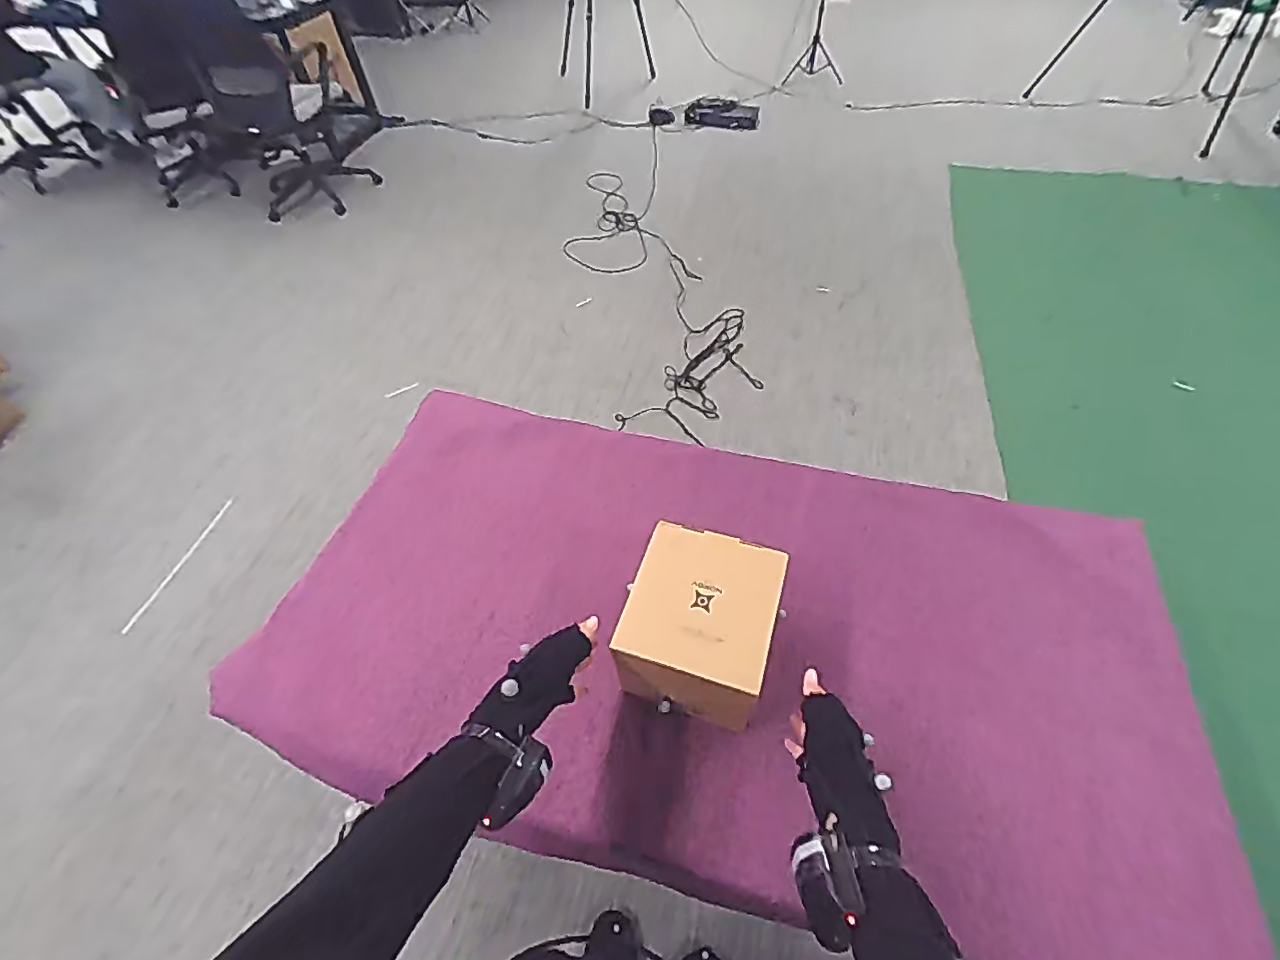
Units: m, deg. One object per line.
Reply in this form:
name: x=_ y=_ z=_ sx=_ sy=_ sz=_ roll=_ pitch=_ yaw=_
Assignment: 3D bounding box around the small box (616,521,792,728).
small box: x=0.081 y=0.182 z=0.675 sx=0.168 sy=0.176 sz=0.179 roll=13 pitch=57 yaw=14
